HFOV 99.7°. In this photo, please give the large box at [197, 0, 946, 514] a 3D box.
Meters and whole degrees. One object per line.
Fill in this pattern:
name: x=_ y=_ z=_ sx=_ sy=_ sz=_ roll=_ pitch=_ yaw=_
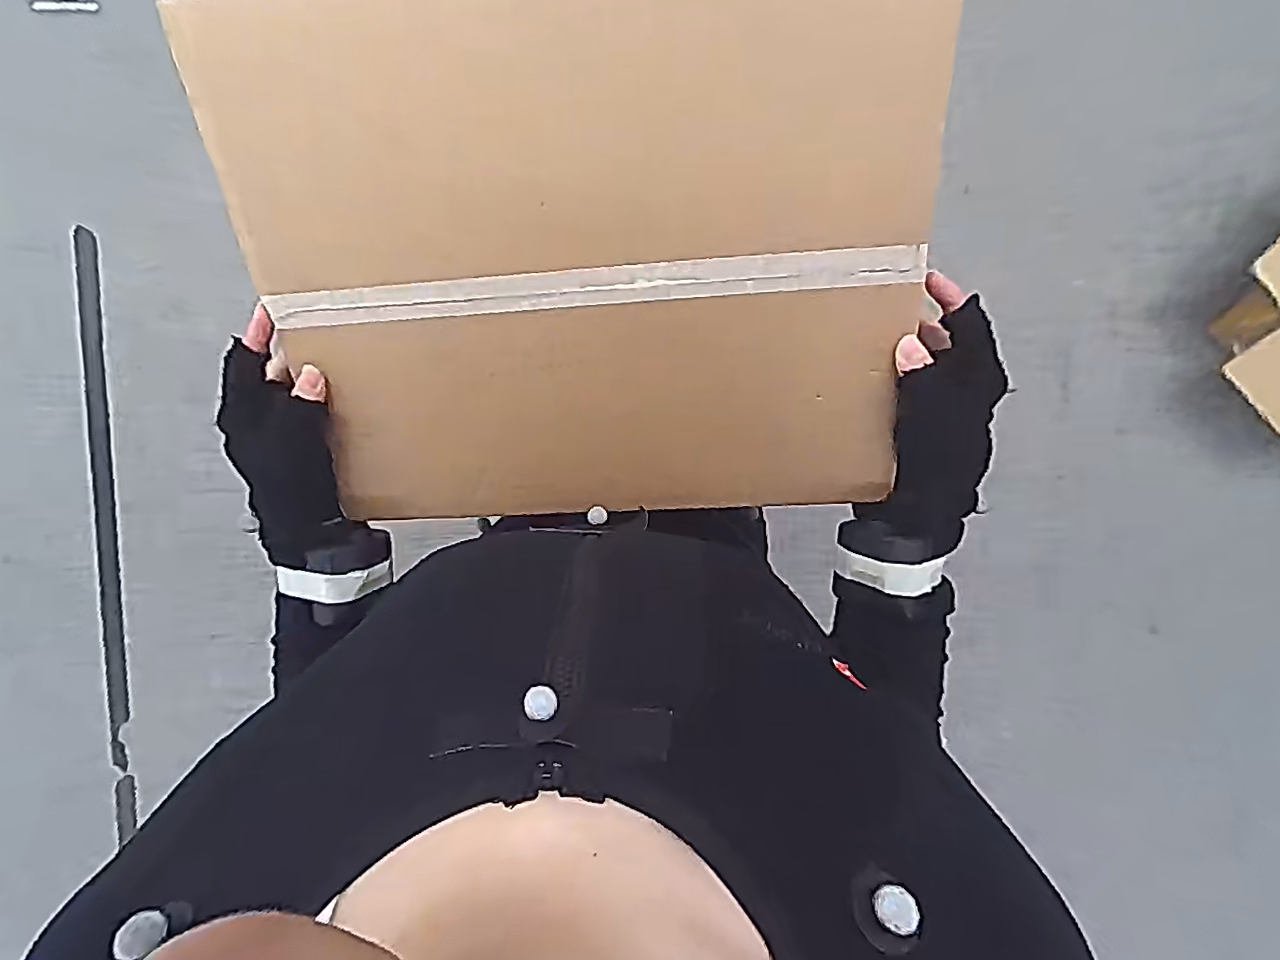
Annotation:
large box: x=-0.028 y=-0.185 z=0.473 sx=0.408 sy=0.320 sz=0.320 roll=-2 pitch=117 yaw=4
